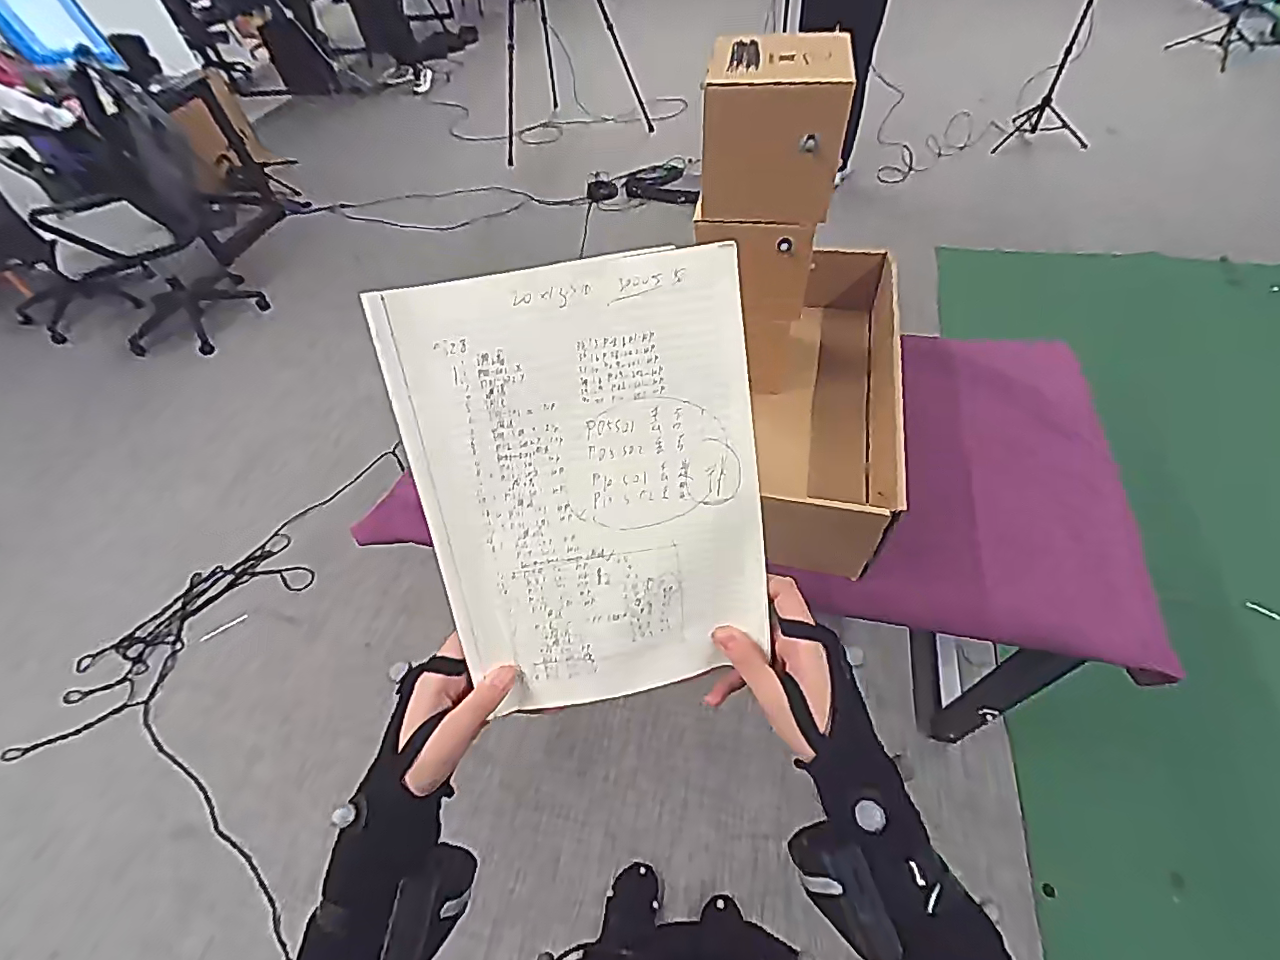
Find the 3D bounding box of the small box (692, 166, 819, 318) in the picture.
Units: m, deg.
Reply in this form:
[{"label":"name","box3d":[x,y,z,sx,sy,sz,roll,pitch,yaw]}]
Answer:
[{"label":"small box","box3d":[0.183,-0.379,0.870,0.179,0.176,0.168,7,55,11]}]
